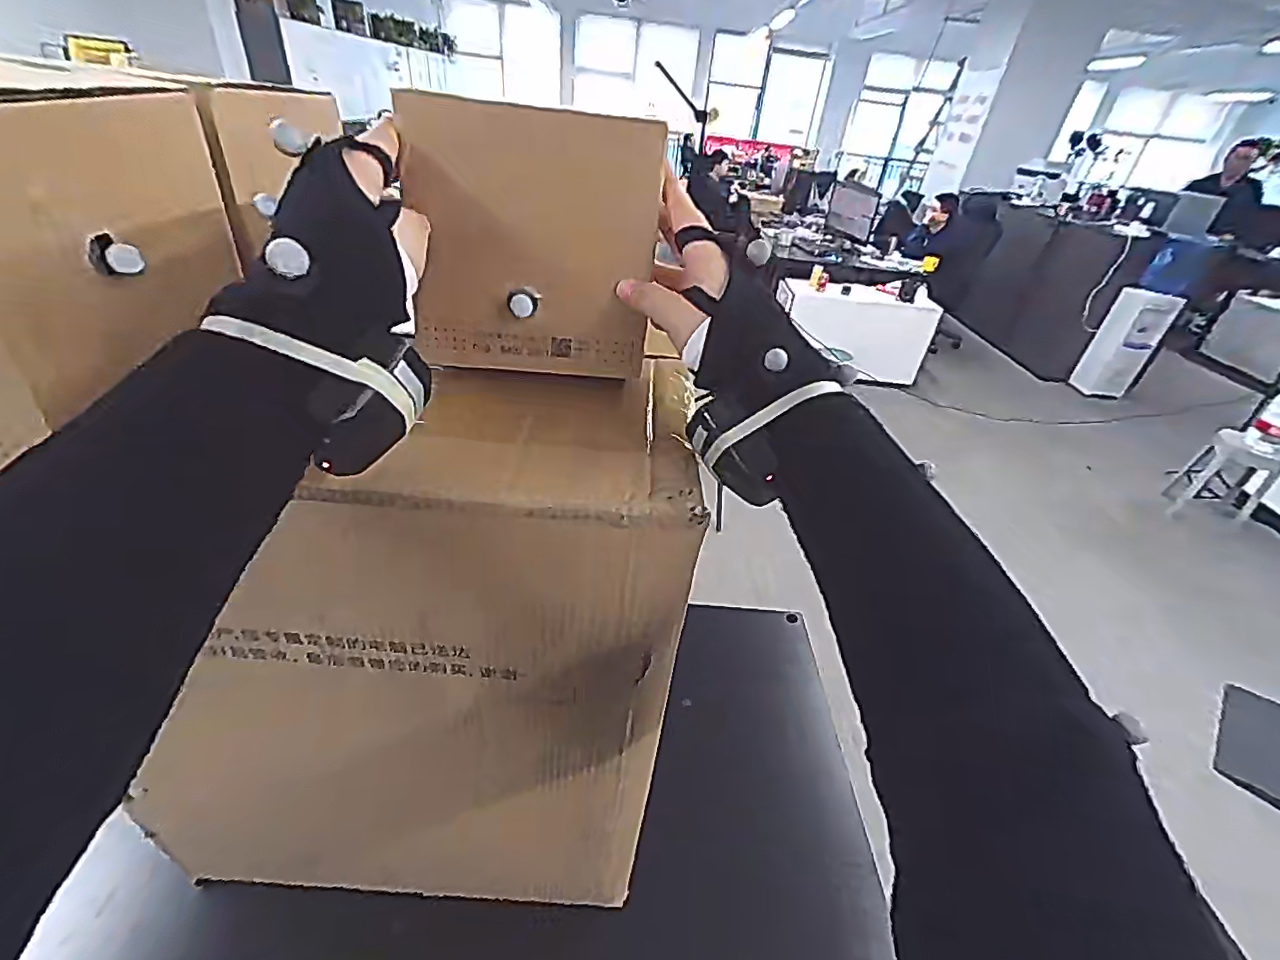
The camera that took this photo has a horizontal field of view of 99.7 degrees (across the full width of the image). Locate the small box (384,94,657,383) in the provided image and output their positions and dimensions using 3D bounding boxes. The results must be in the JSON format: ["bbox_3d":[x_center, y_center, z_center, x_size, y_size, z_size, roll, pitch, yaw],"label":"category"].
[{"bbox_3d":[-0.082,-0.190,0.433,0.168,0.176,0.179,2,31,-5],"label":"small box"}]

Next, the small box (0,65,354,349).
[{"bbox_3d":[-0.360,-0.223,0.448,0.168,0.176,0.179,4,34,-3],"label":"small box"}]
